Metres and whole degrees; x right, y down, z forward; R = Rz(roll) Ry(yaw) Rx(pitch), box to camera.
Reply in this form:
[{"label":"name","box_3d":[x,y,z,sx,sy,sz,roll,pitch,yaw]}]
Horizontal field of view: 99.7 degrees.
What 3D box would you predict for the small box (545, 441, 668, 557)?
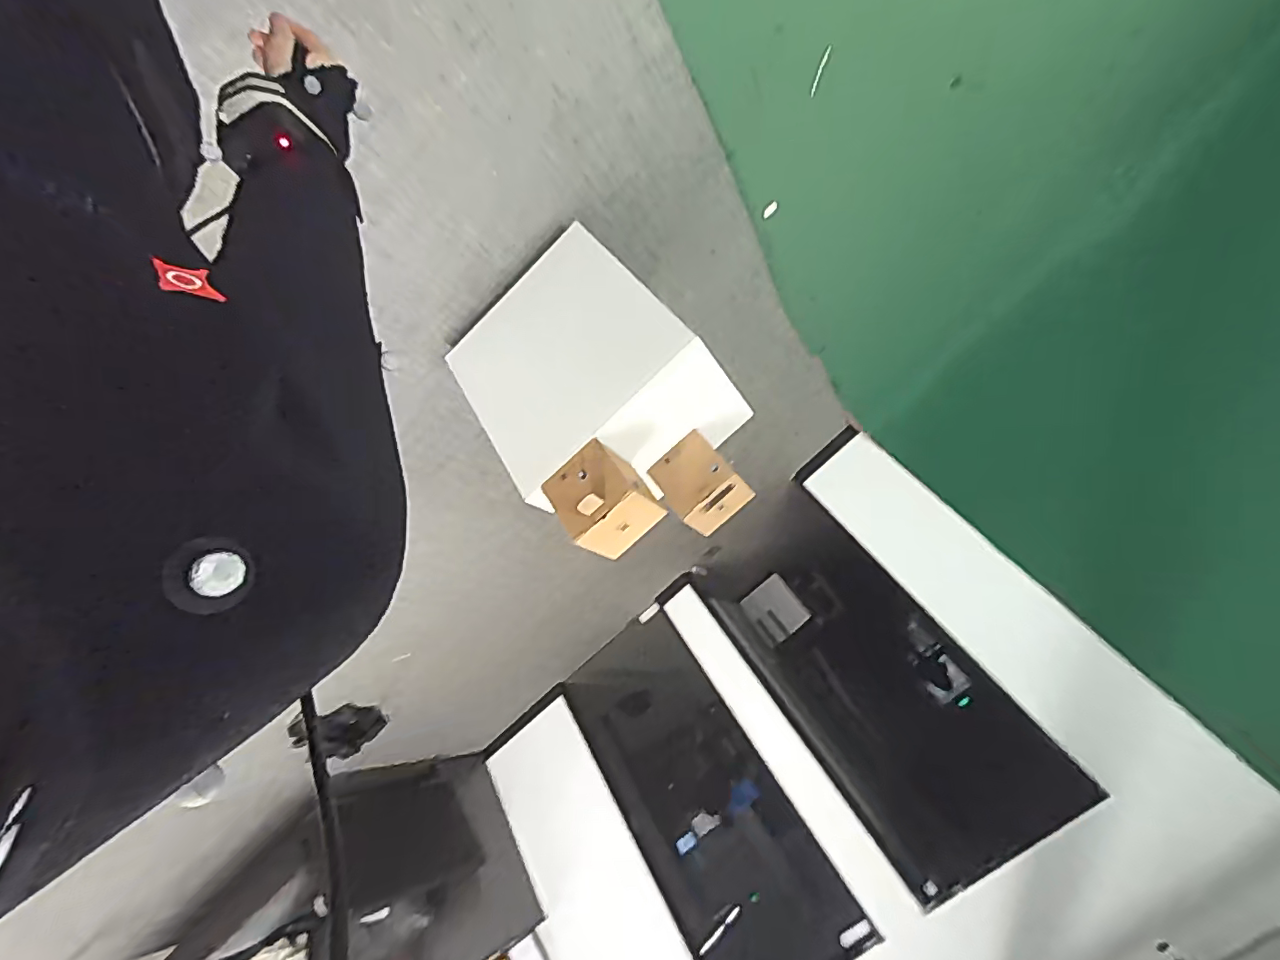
[{"label":"small box","box_3d":[-0.073,0.042,1.183,0.168,0.176,0.179,-42,148,9]}]
